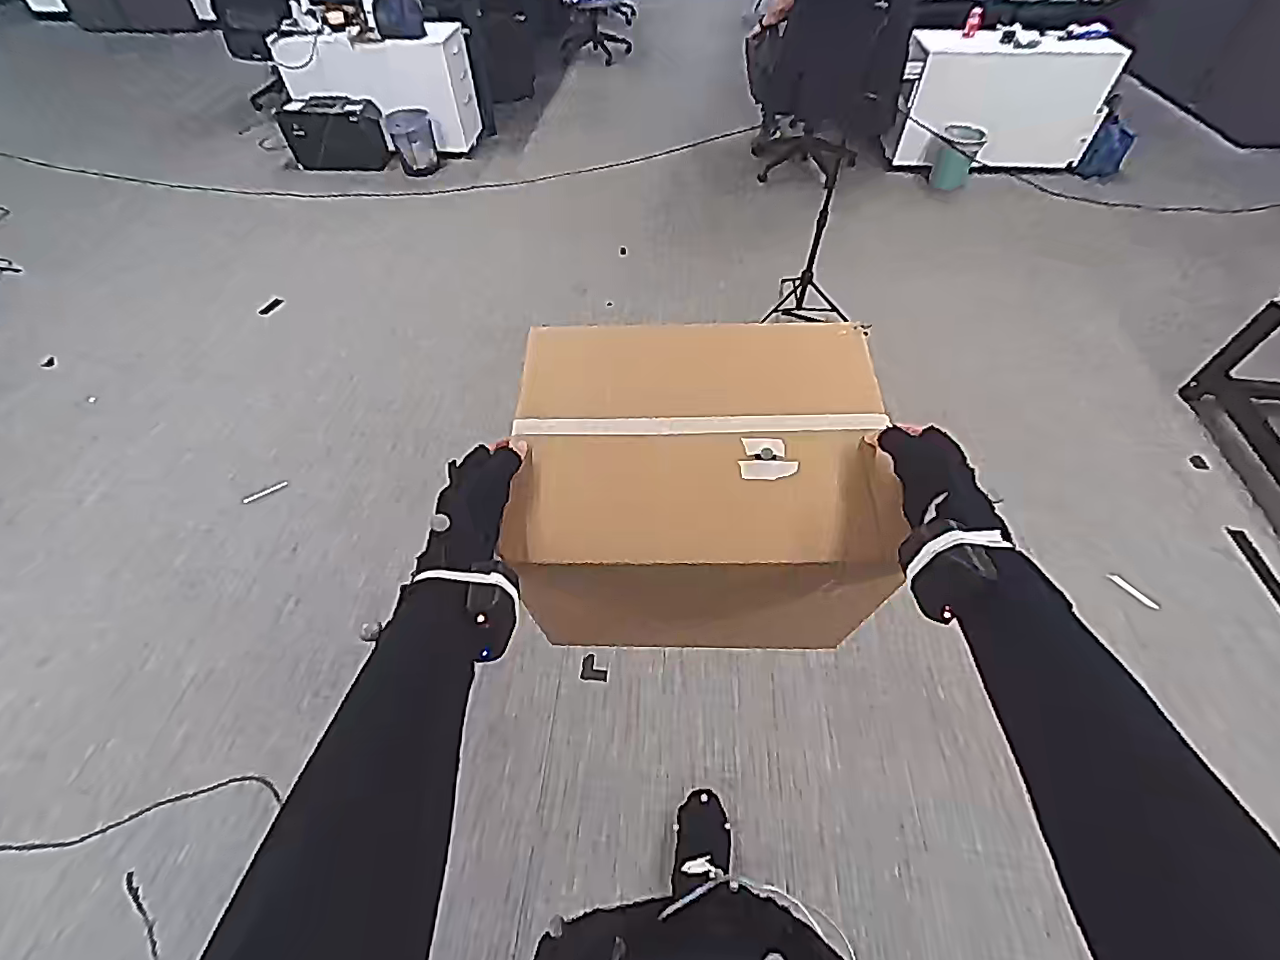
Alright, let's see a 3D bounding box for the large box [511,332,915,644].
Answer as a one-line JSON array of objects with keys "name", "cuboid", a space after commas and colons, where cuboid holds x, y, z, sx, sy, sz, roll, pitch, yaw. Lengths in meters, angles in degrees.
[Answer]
[{"name": "large box", "cuboid": [0.073, 0.026, 0.727, 0.408, 0.320, 0.320, 0, 59, 2]}]
